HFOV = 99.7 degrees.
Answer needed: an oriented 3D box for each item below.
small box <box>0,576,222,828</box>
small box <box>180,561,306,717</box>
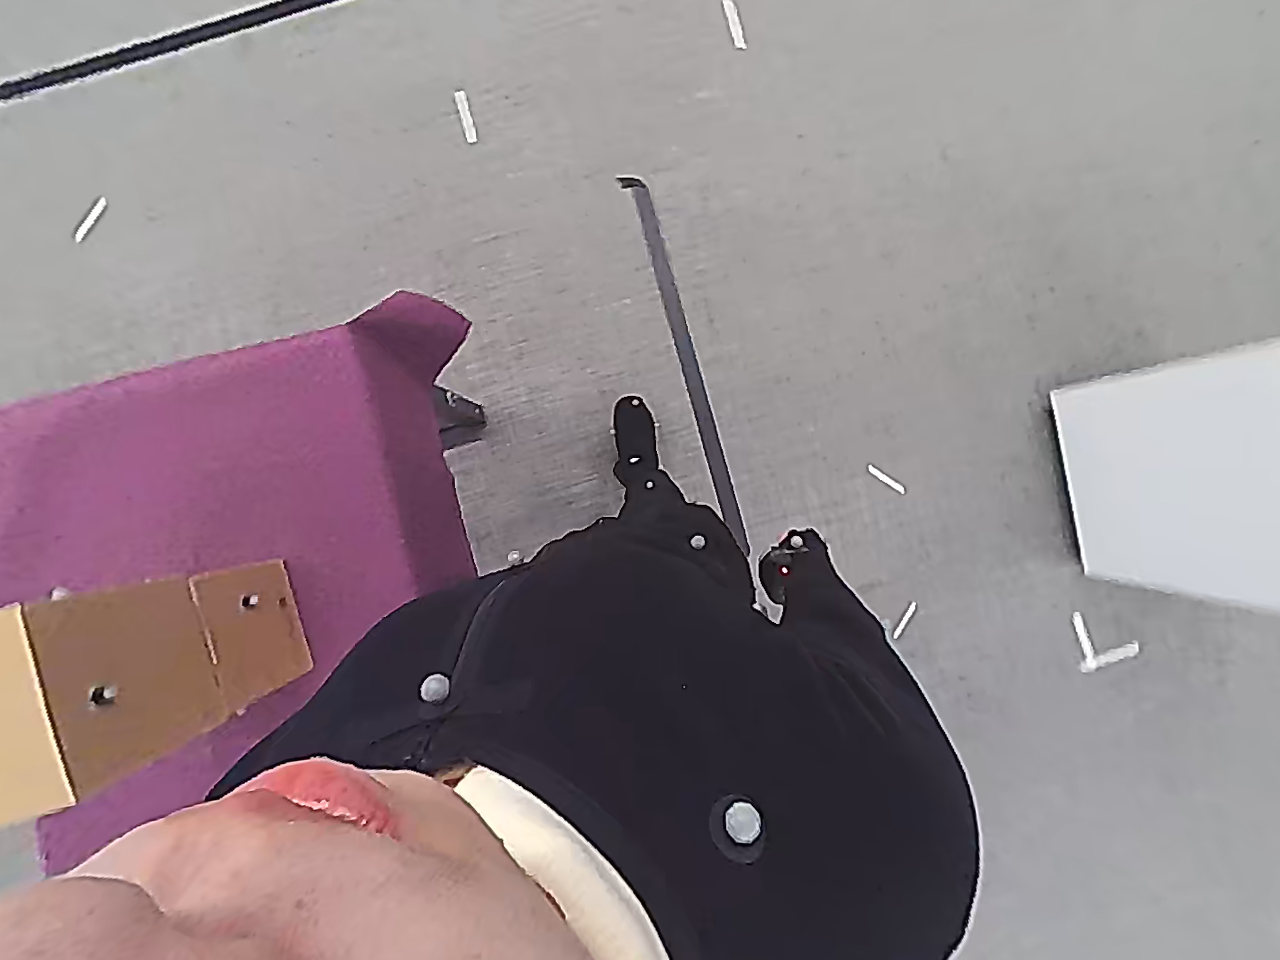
[{"bbox_3d":[-0.564,0.210,0.532,0.168,0.176,0.179,-17,89,-1],"label":"small box"},{"bbox_3d":[-0.568,0.211,0.697,0.179,0.176,0.168,-16,89,0],"label":"small box"}]
